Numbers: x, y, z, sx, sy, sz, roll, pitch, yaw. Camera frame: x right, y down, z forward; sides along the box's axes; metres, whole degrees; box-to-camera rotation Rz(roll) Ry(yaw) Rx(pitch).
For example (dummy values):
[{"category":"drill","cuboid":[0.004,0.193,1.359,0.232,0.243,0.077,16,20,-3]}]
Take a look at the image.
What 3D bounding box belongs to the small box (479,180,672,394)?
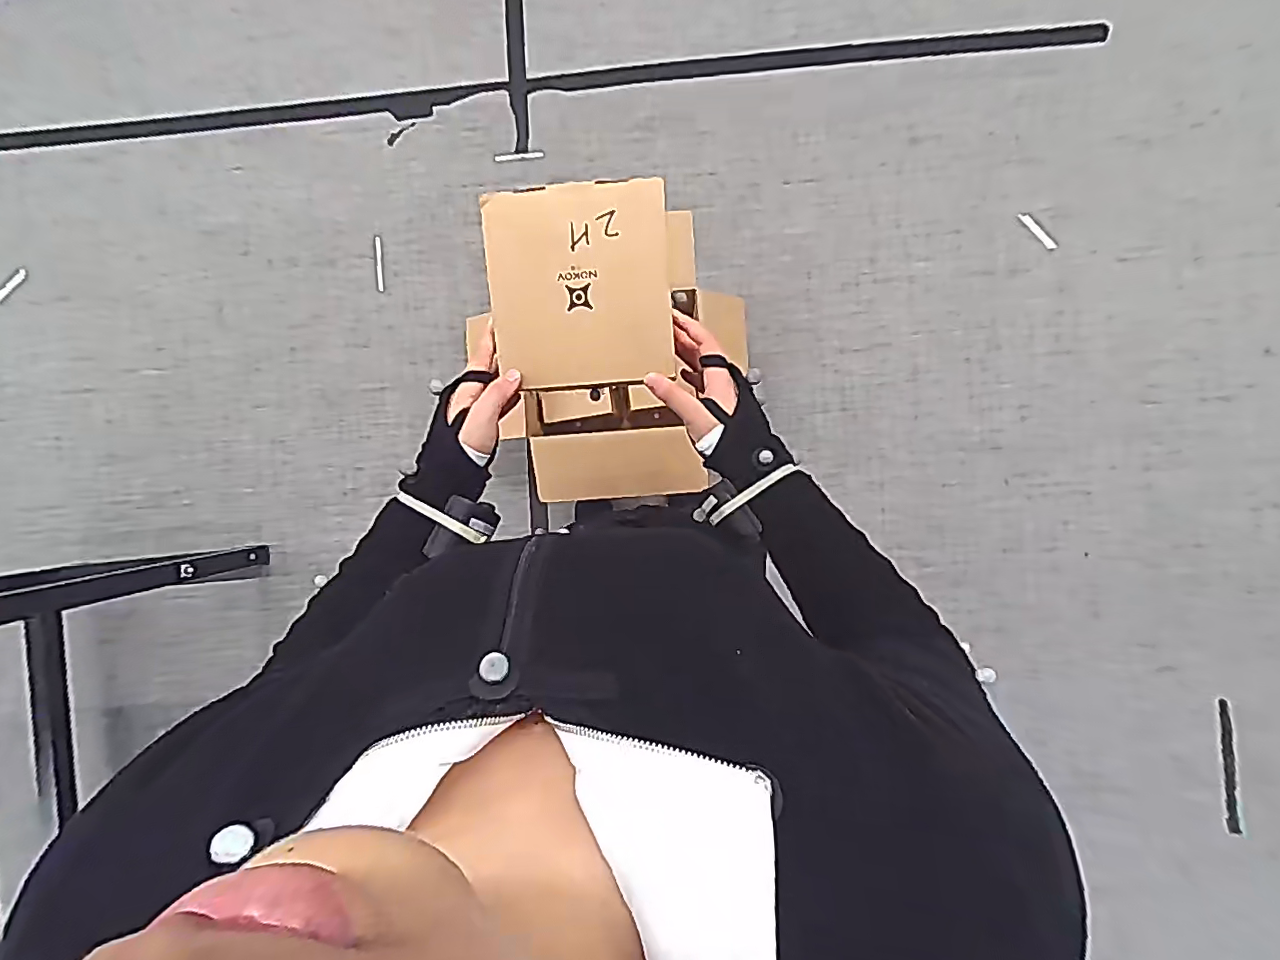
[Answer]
[{"category":"small box","cuboid":[-0.052,-0.183,0.565,0.168,0.176,0.179,-4,98,3]}]
